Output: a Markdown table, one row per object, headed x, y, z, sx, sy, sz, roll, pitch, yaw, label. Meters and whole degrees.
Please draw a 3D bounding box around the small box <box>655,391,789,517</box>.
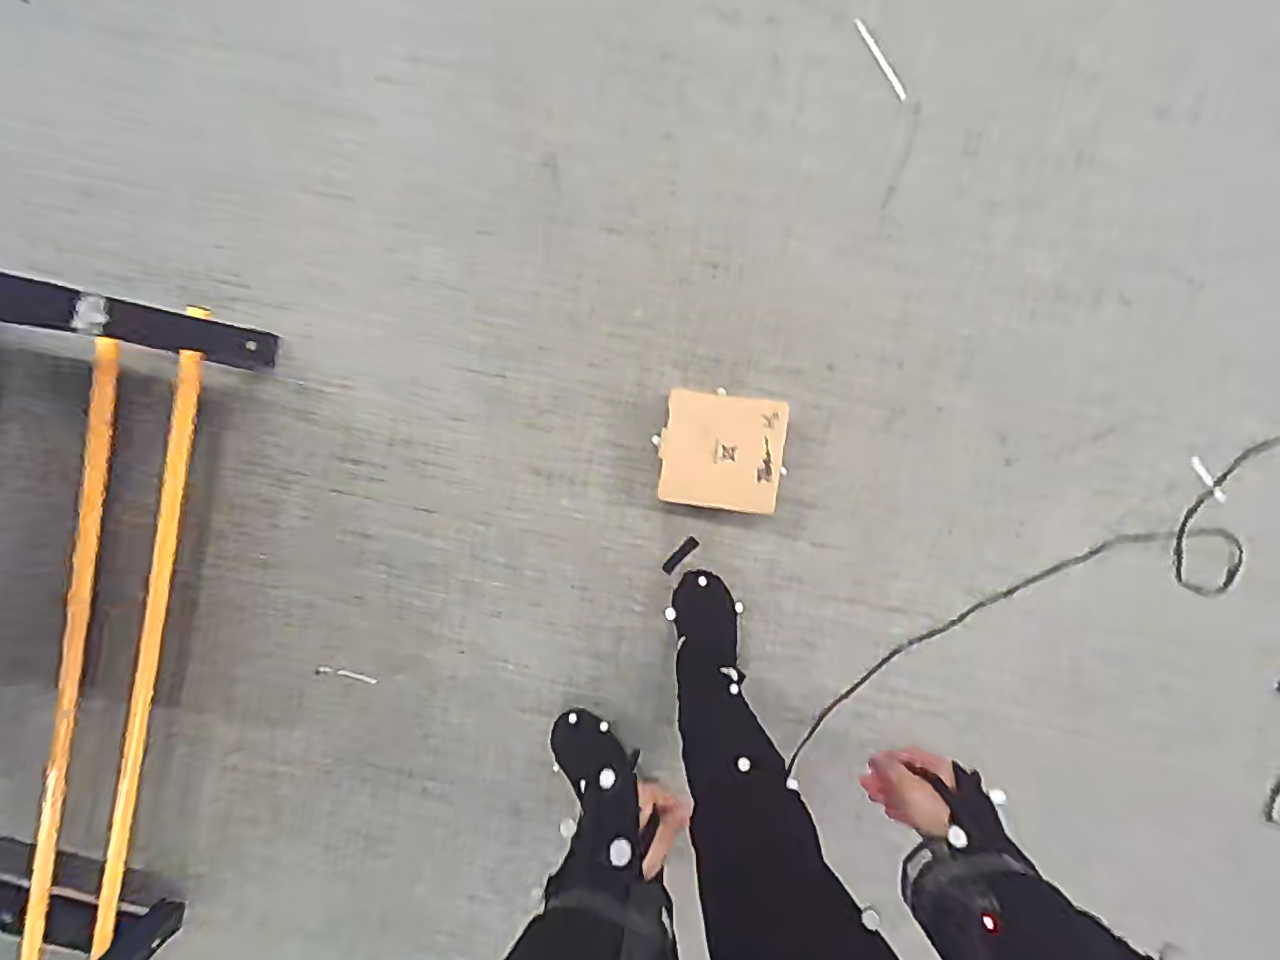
| x | y | z | sx | sy | sz | roll | pitch | yaw | label |
| --- | --- | --- | --- | --- | --- | --- | --- | --- | --- |
| 0.123 | -0.043 | 0.868 | 0.179 | 0.176 | 0.168 | 8 | 95 | 2 | small box |
